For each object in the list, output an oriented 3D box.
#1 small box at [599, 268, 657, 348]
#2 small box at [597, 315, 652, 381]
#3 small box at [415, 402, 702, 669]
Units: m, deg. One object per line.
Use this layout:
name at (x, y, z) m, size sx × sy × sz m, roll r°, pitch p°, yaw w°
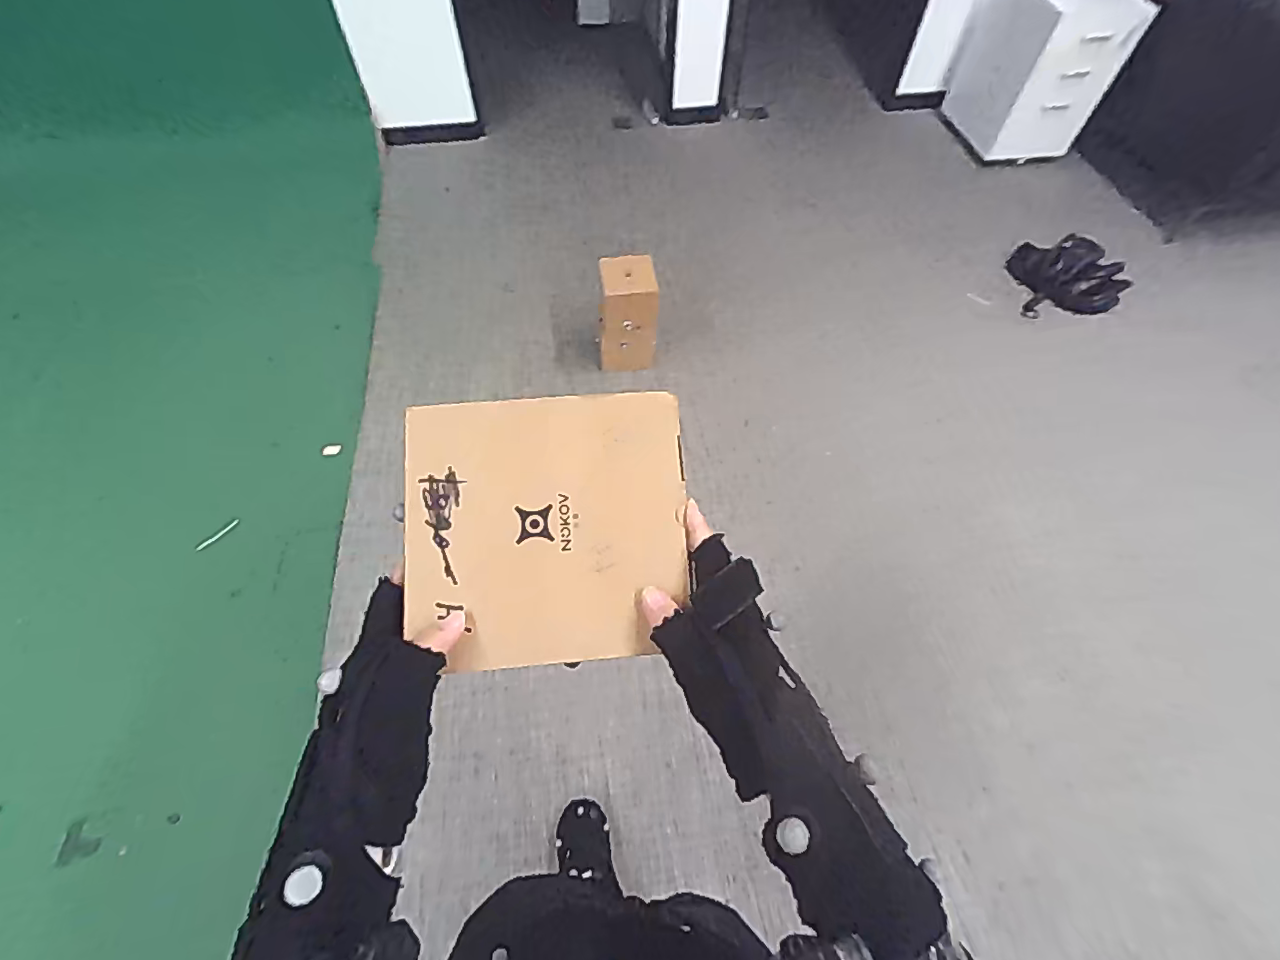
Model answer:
small box at (-0.039, -0.552, 1.741) m, size 0.168 × 0.176 × 0.179 m, roll -8°, pitch 58°, yaw -4°
small box at (-0.053, -0.459, 1.873) m, size 0.179 × 0.176 × 0.168 m, roll -5°, pitch 57°, yaw -4°
small box at (-0.059, 0.047, 0.423) m, size 0.179 × 0.176 × 0.168 m, roll -4°, pitch 76°, yaw -5°
